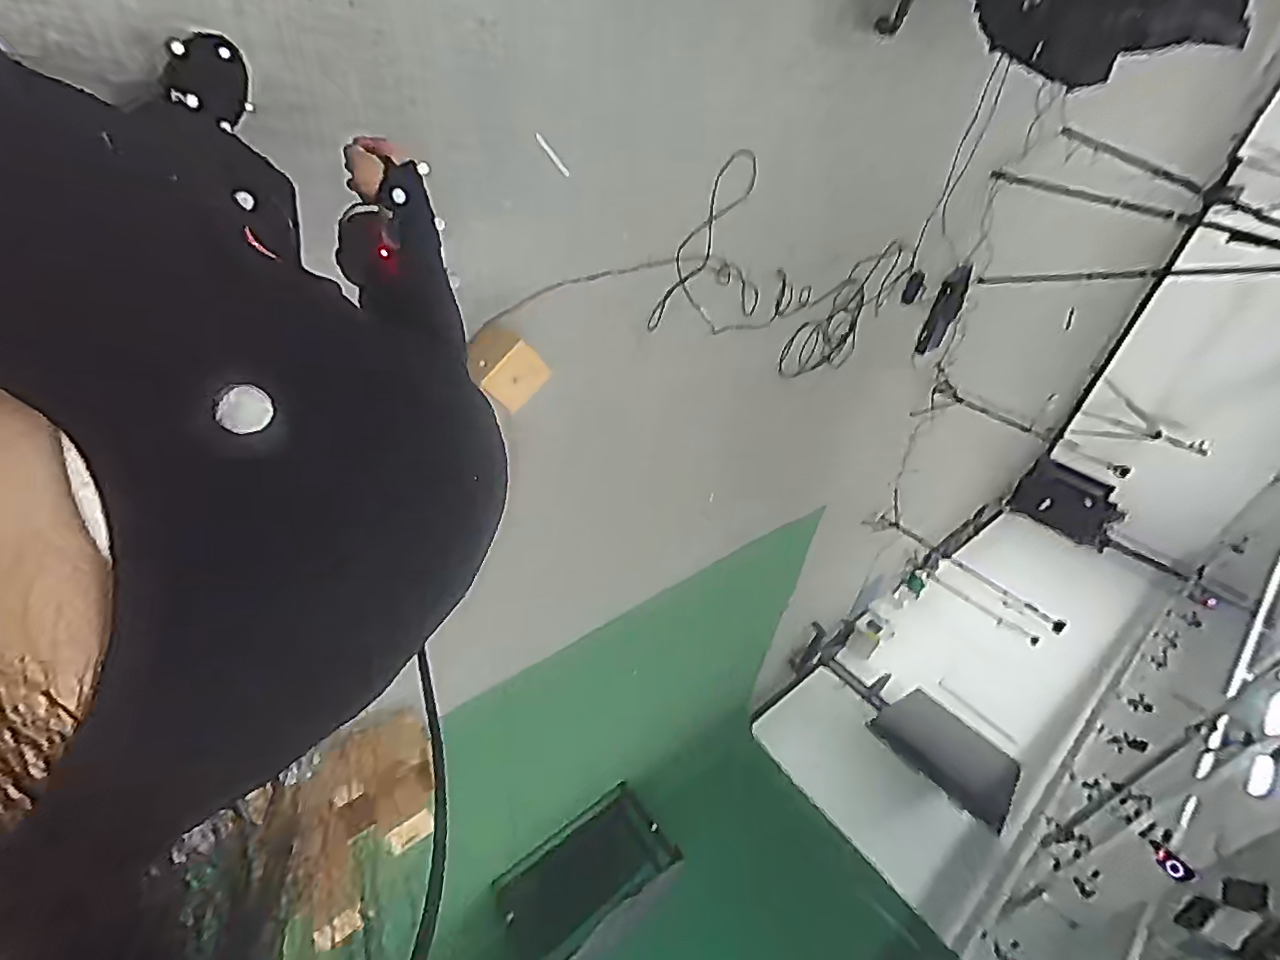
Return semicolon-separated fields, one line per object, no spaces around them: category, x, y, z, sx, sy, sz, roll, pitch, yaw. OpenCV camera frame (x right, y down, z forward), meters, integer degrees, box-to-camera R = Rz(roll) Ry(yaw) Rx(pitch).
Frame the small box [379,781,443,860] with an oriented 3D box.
small box;-0.895;1.326;2.116;0.168;0.176;0.179;-25;133;-29

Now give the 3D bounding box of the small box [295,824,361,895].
small box;-1.117;1.391;1.948;0.168;0.176;0.179;-19;130;-36

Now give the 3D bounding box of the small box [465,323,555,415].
small box;-0.395;-0.332;1.607;0.179;0.176;0.168;-48;143;-3

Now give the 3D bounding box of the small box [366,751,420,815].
small box;-1.001;1.257;2.222;0.168;0.176;0.179;-23;133;-30

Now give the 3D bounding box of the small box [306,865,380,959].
small box;-1.015;1.471;1.847;0.168;0.176;0.179;-22;134;-34
